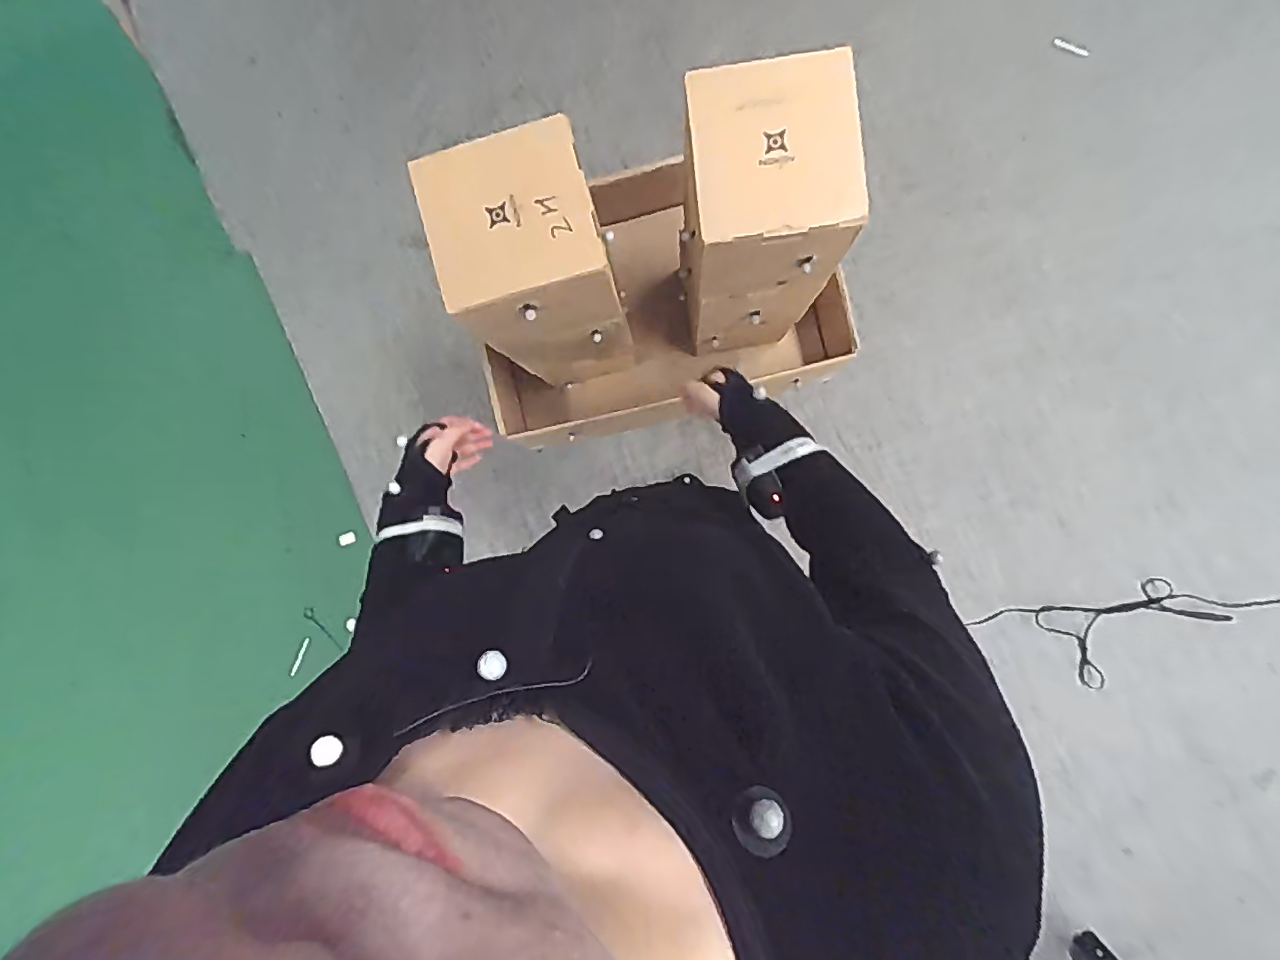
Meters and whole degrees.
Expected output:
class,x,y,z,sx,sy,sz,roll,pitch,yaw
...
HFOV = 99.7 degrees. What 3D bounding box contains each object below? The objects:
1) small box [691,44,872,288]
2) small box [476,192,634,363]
class,x,y,z,sx,sy,sz,roll,pitch,yaw
small box,0.146,-0.329,0.607,0.168,0.176,0.179,-5,89,5
small box,-0.115,-0.284,0.798,0.179,0.176,0.168,-13,90,4
